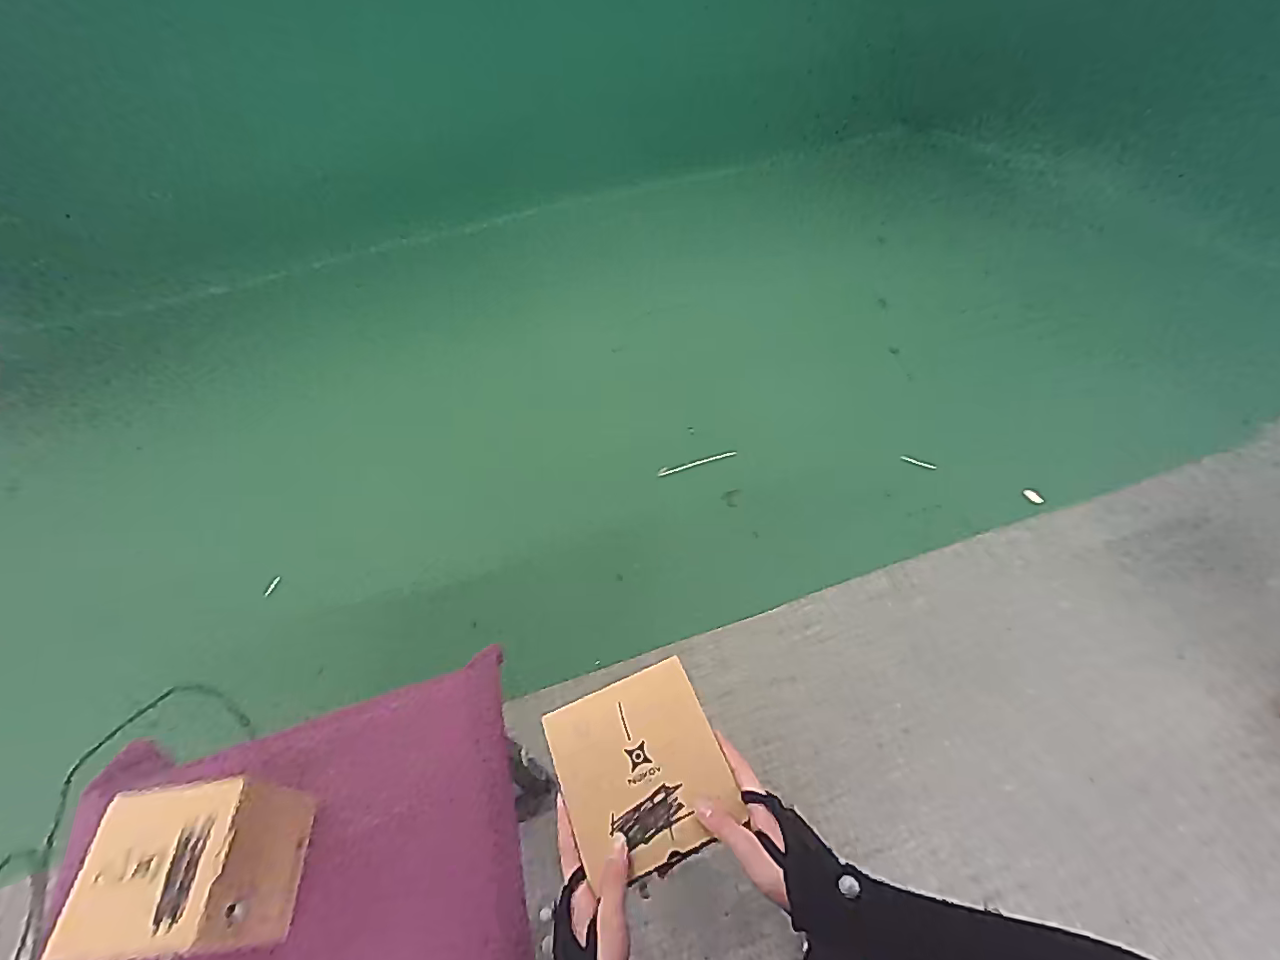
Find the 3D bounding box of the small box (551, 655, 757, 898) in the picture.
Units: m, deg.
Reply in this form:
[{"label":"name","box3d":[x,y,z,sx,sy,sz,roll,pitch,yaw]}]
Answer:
[{"label":"small box","box3d":[0.017,0.333,0.613,0.168,0.176,0.179,-21,54,-8]}]
